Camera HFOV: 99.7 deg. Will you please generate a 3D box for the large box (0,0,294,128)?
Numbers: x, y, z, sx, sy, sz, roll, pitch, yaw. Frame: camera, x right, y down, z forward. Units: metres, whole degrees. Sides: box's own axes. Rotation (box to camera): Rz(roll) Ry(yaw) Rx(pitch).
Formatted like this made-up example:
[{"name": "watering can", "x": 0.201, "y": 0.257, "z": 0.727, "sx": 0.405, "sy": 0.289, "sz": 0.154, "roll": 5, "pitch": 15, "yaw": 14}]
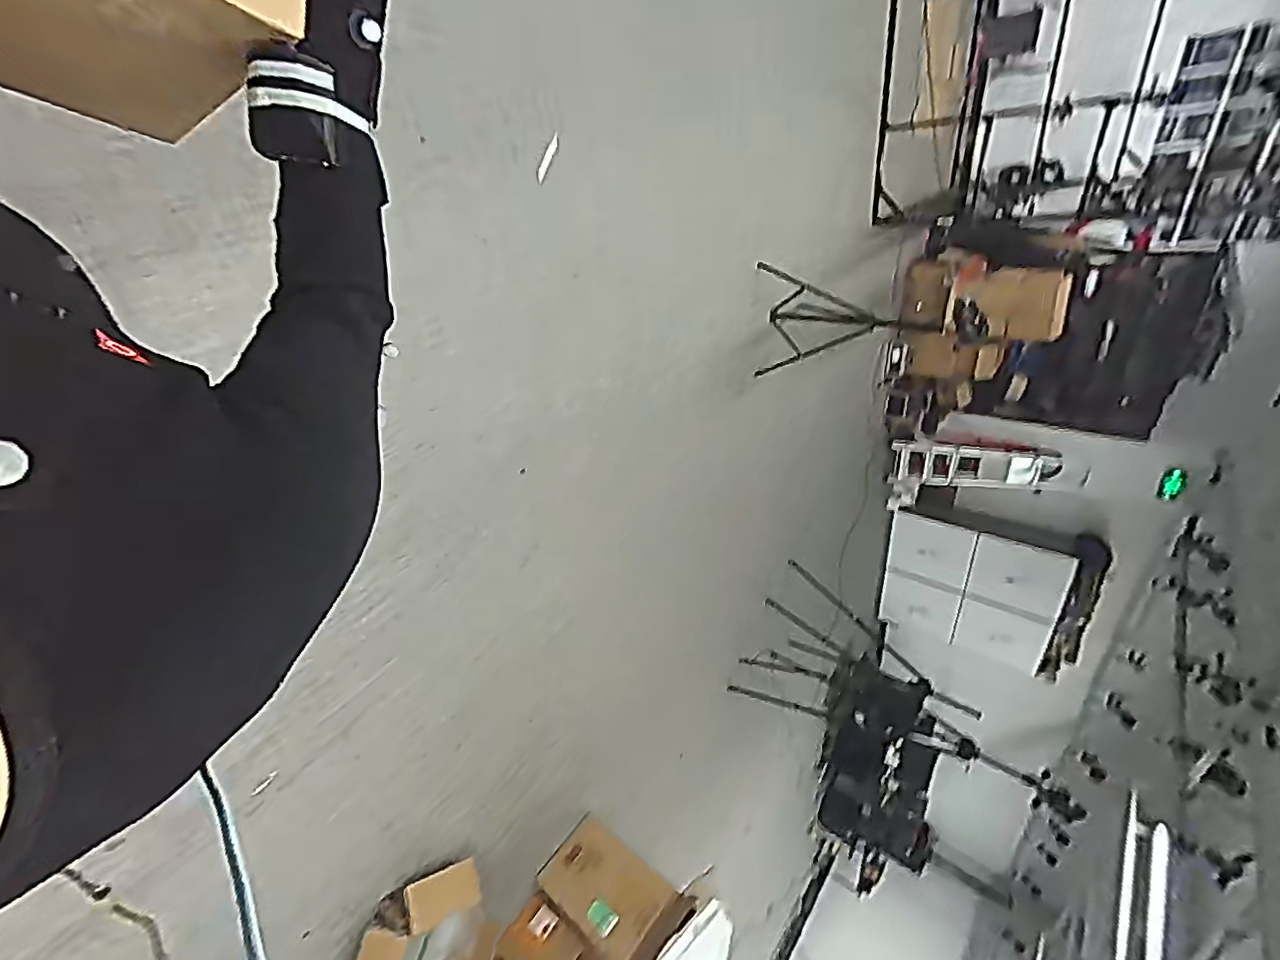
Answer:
[{"name": "large box", "x": -0.465, "y": -0.461, "z": 0.276, "sx": 0.408, "sy": 0.320, "sz": 0.320, "roll": -7, "pitch": 104, "yaw": -53}]
